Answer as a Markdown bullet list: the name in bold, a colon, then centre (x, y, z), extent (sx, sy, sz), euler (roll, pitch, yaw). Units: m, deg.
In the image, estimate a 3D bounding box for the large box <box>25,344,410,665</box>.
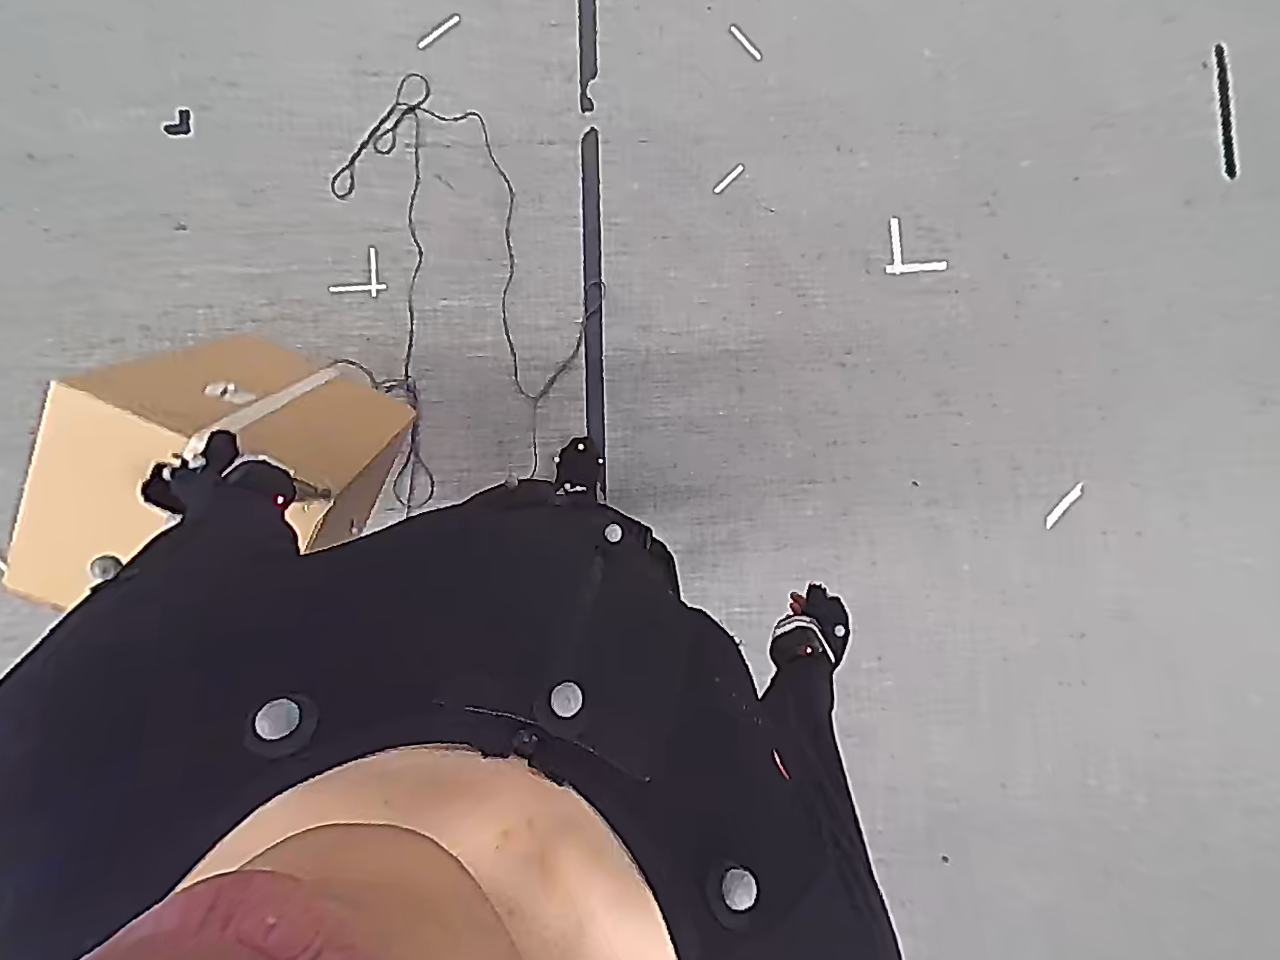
- **large box**: centre (-0.633, 0.015, 0.888), extent (0.320, 0.408, 0.320), euler (25, 108, -16)
